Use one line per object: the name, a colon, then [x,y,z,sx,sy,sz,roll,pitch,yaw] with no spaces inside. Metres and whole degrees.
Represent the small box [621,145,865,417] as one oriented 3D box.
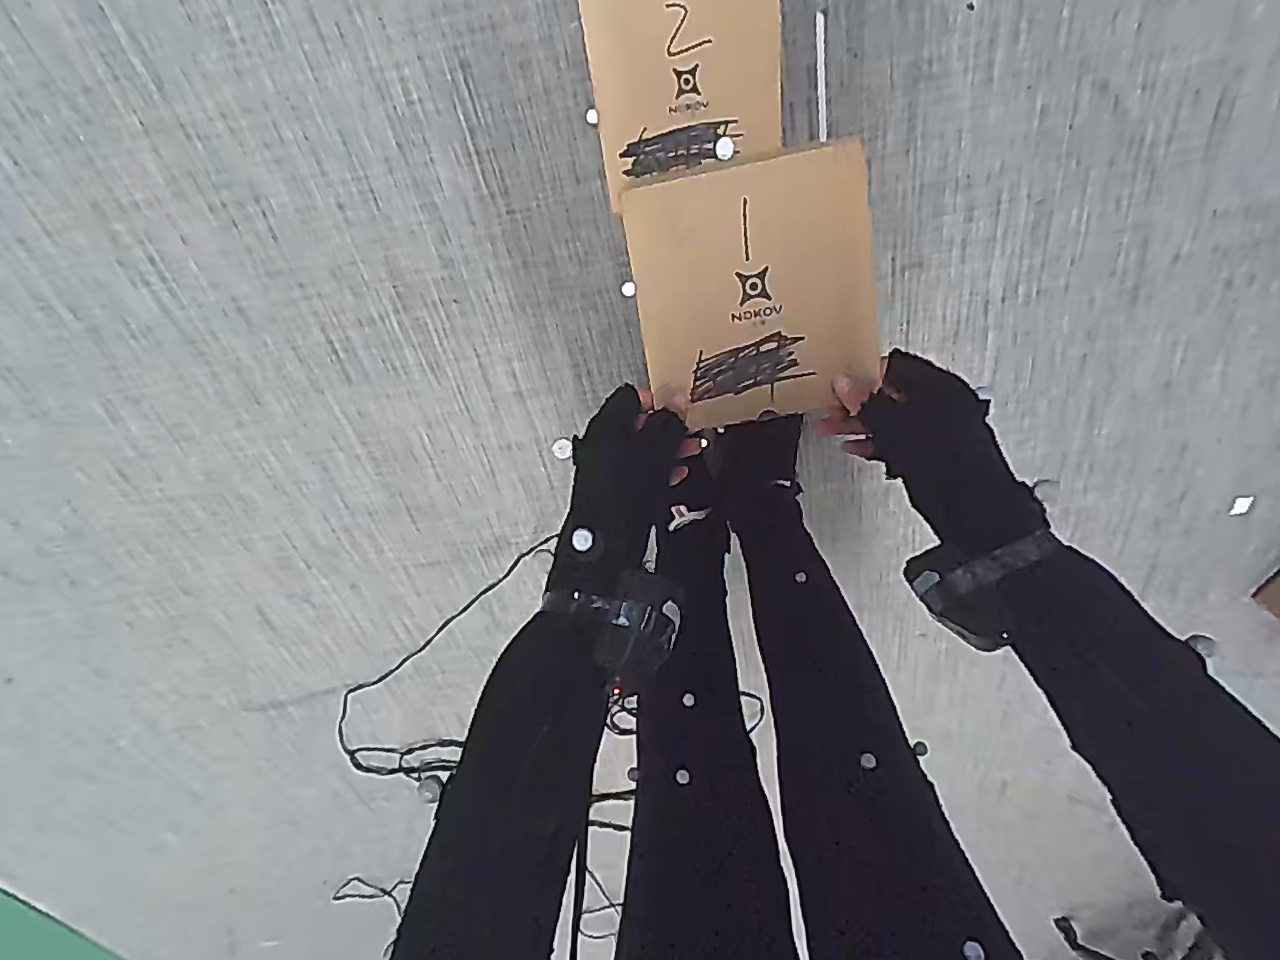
small box: [0.083,-0.177,0.472,0.168,0.176,0.179,-8,119,6]
